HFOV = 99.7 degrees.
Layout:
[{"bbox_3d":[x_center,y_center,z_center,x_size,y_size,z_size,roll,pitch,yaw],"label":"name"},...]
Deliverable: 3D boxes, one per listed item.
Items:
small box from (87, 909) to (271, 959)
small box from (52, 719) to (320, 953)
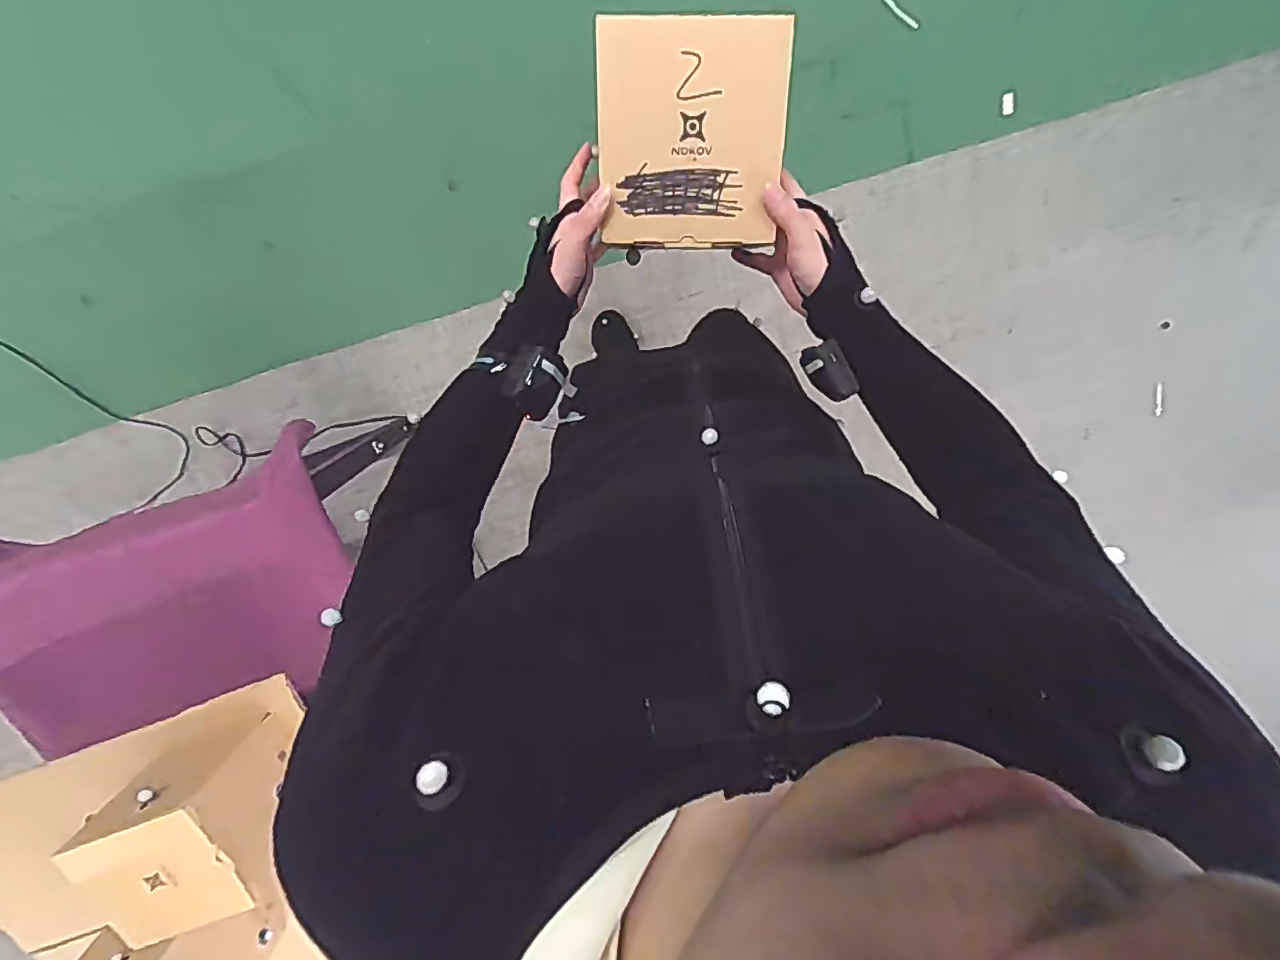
[{"bbox_3d":[-0.677,0.714,0.776,0.179,0.176,0.168,-21,104,2],"label":"small box"},{"bbox_3d":[-0.578,0.459,0.719,0.179,0.176,0.168,-21,105,1],"label":"small box"}]
